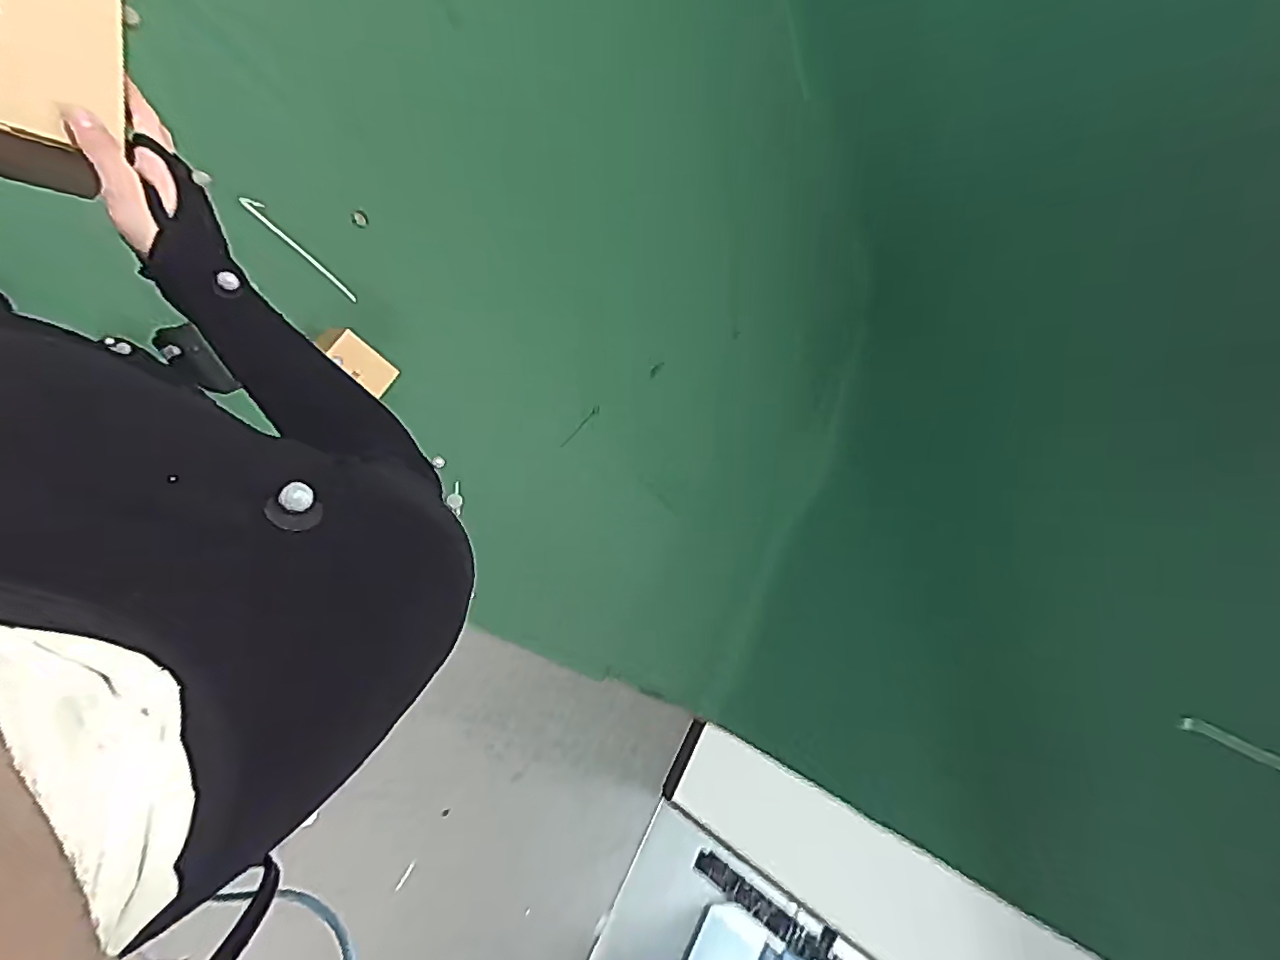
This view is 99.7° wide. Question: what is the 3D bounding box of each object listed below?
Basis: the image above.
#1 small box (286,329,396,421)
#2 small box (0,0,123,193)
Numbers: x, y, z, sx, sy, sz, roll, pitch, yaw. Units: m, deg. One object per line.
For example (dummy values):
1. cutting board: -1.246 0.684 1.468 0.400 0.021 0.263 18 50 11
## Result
1. small box: -0.795 -0.281 1.431 0.179 0.176 0.168 -59 135 -16
2. small box: -0.516 -0.344 0.403 0.168 0.176 0.179 -5 103 -51
